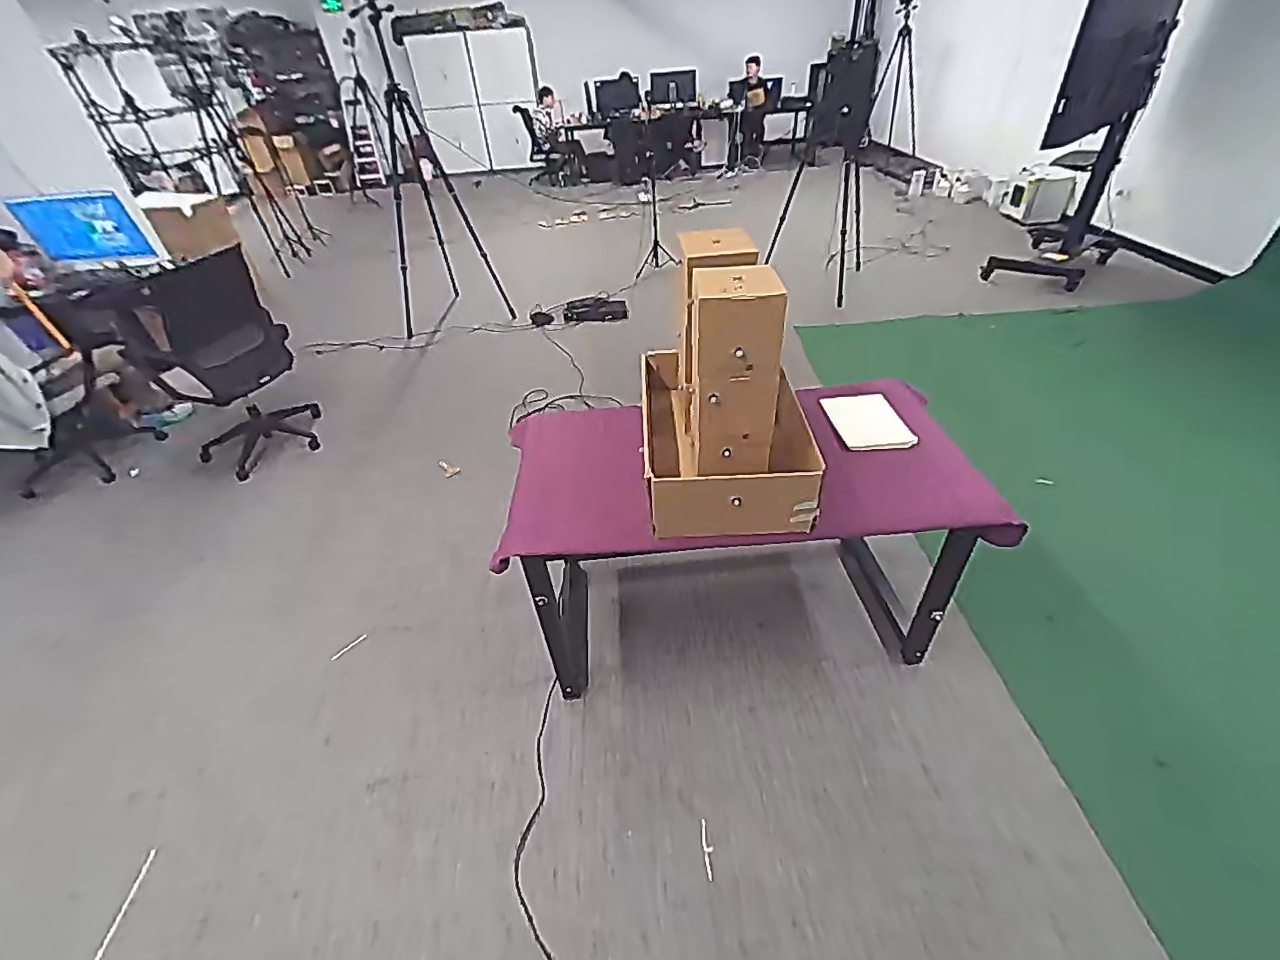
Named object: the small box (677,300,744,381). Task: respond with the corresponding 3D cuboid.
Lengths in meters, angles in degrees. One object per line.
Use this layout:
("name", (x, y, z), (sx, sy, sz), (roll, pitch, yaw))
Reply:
("small box", (0.190, -0.373, 1.439), (0.168, 0.176, 0.179), (-5, 40, -1))

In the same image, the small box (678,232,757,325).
("small box", (0.183, -0.495, 1.333), (0.168, 0.176, 0.179), (-5, 42, -1))

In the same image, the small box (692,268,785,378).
("small box", (0.194, -0.325, 1.119), (0.168, 0.176, 0.179), (-2, 39, 3))

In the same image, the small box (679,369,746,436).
("small box", (0.200, -0.243, 1.540), (0.168, 0.176, 0.179), (-4, 41, 0))
